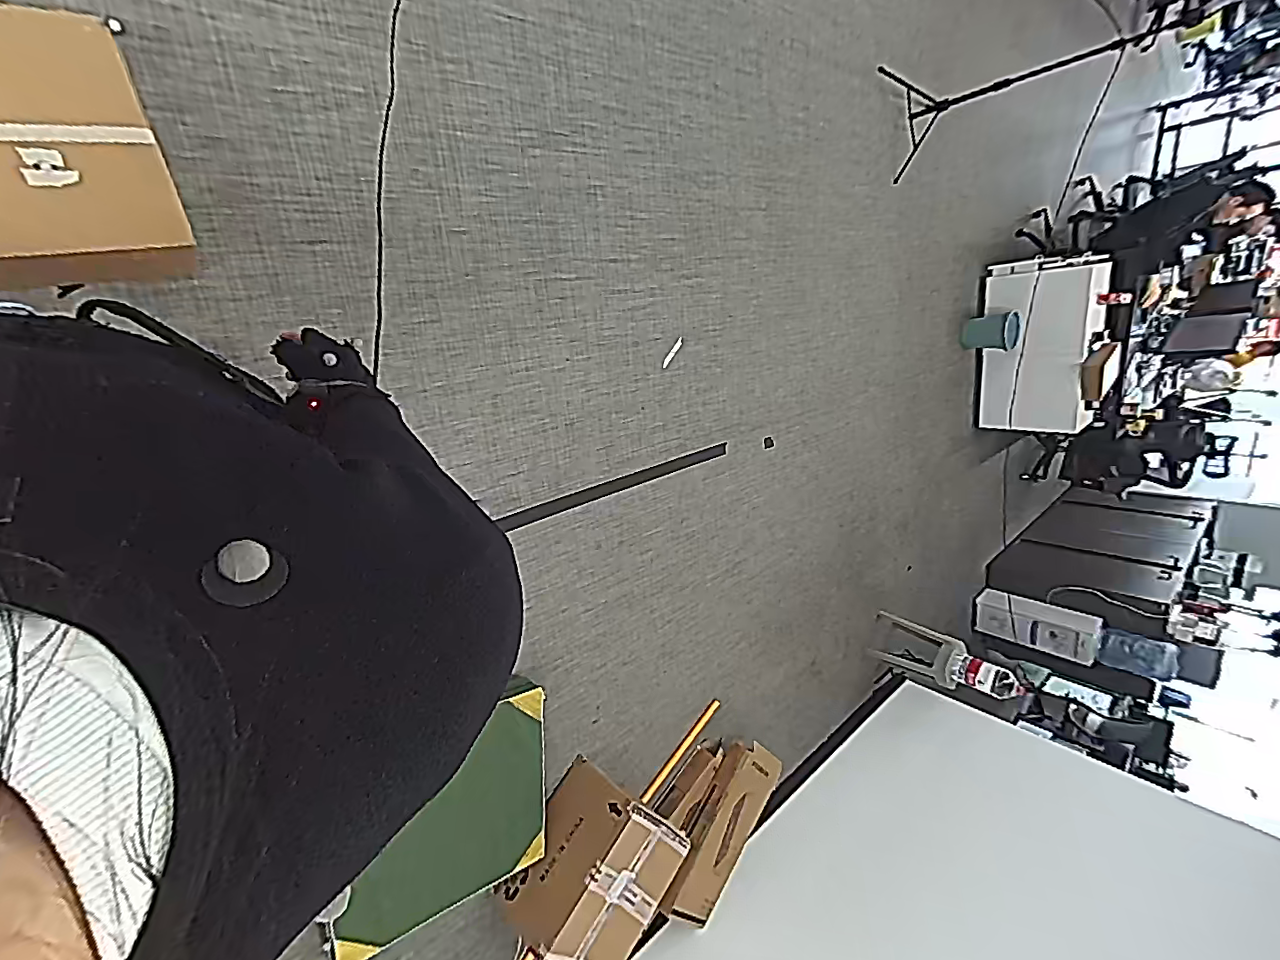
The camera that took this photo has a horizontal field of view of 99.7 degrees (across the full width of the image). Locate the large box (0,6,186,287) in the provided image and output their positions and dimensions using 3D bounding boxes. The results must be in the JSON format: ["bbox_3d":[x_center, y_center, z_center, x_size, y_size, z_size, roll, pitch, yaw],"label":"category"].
[{"bbox_3d":[-1.013,-0.489,0.838,0.408,0.320,0.320,-23,113,-35],"label":"large box"}]
